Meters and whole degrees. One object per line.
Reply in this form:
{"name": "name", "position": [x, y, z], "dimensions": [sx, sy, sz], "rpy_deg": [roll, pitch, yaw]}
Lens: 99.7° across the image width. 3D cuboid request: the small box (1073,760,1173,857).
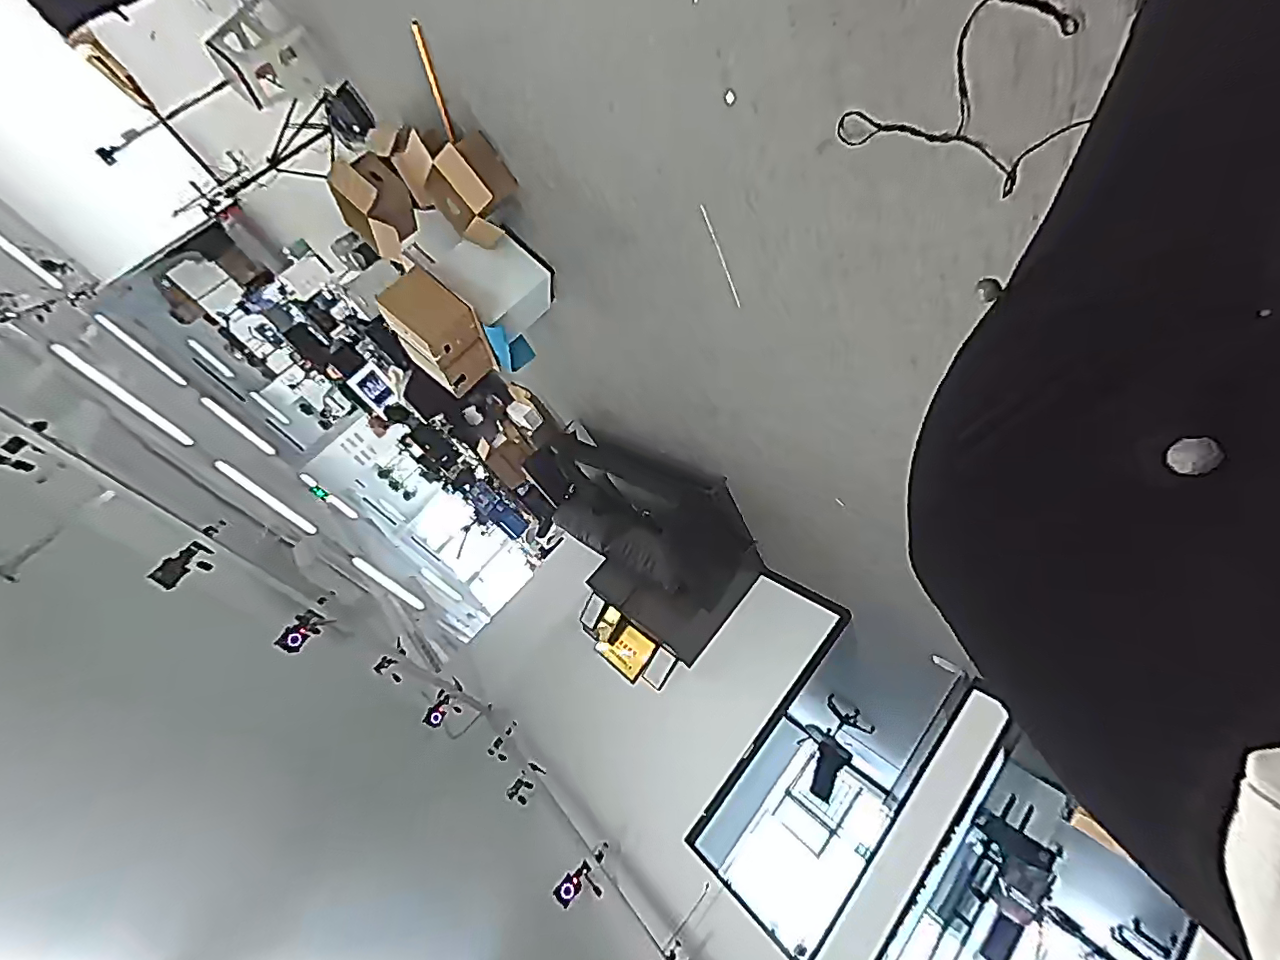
{"name": "small box", "position": [1.440, 0.978, 1.615], "dimensions": [0.168, 0.176, 0.179], "rpy_deg": [27, 157, 42]}
